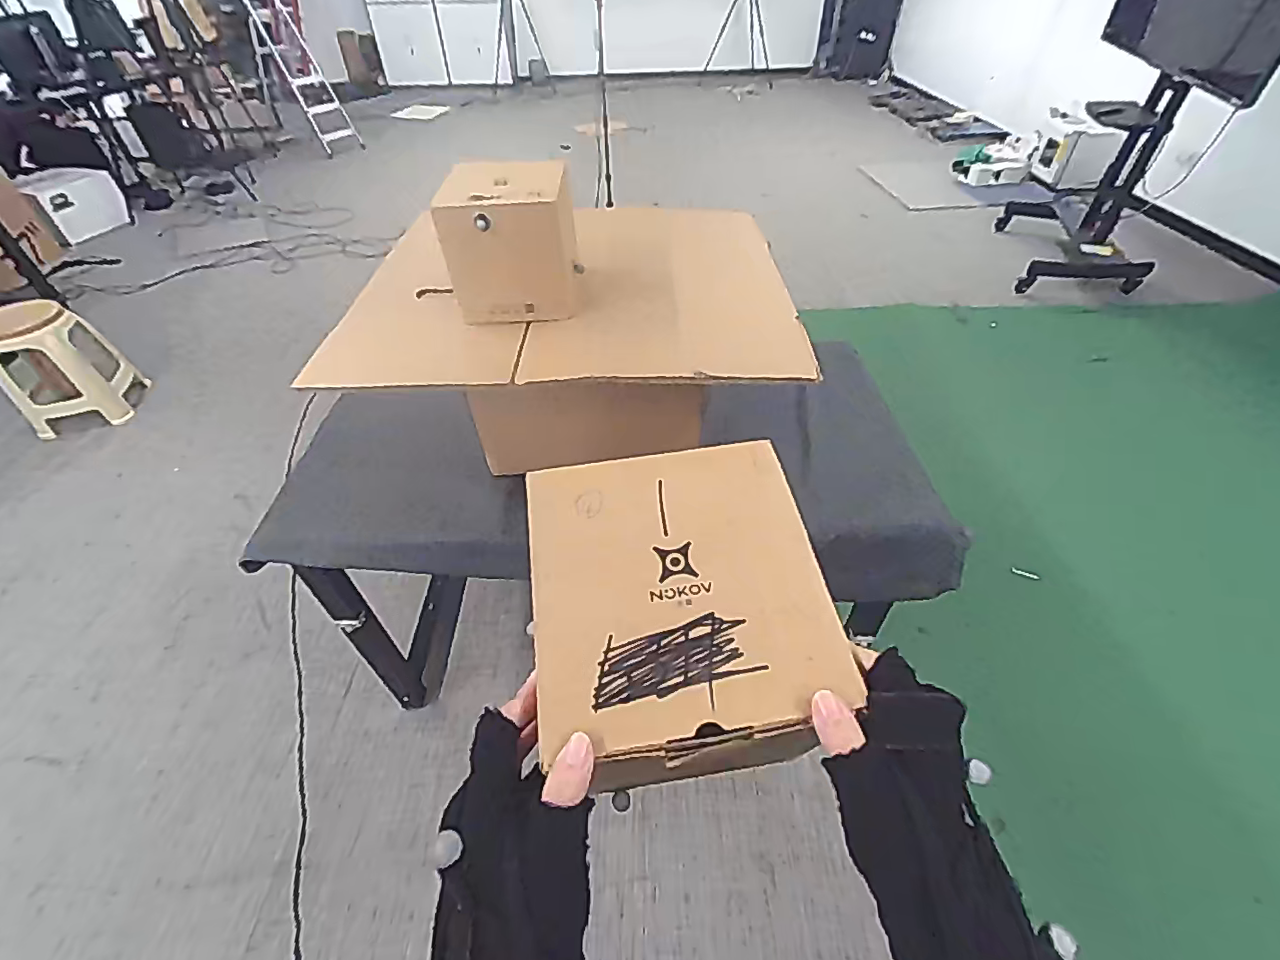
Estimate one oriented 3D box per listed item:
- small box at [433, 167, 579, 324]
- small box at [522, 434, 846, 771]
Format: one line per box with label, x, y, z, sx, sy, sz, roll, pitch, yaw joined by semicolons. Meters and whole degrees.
small box;-0.185;-0.350;0.809;0.168;0.176;0.179;-2;45;1
small box;0.017;0.095;0.382;0.168;0.176;0.179;-8;56;-4
